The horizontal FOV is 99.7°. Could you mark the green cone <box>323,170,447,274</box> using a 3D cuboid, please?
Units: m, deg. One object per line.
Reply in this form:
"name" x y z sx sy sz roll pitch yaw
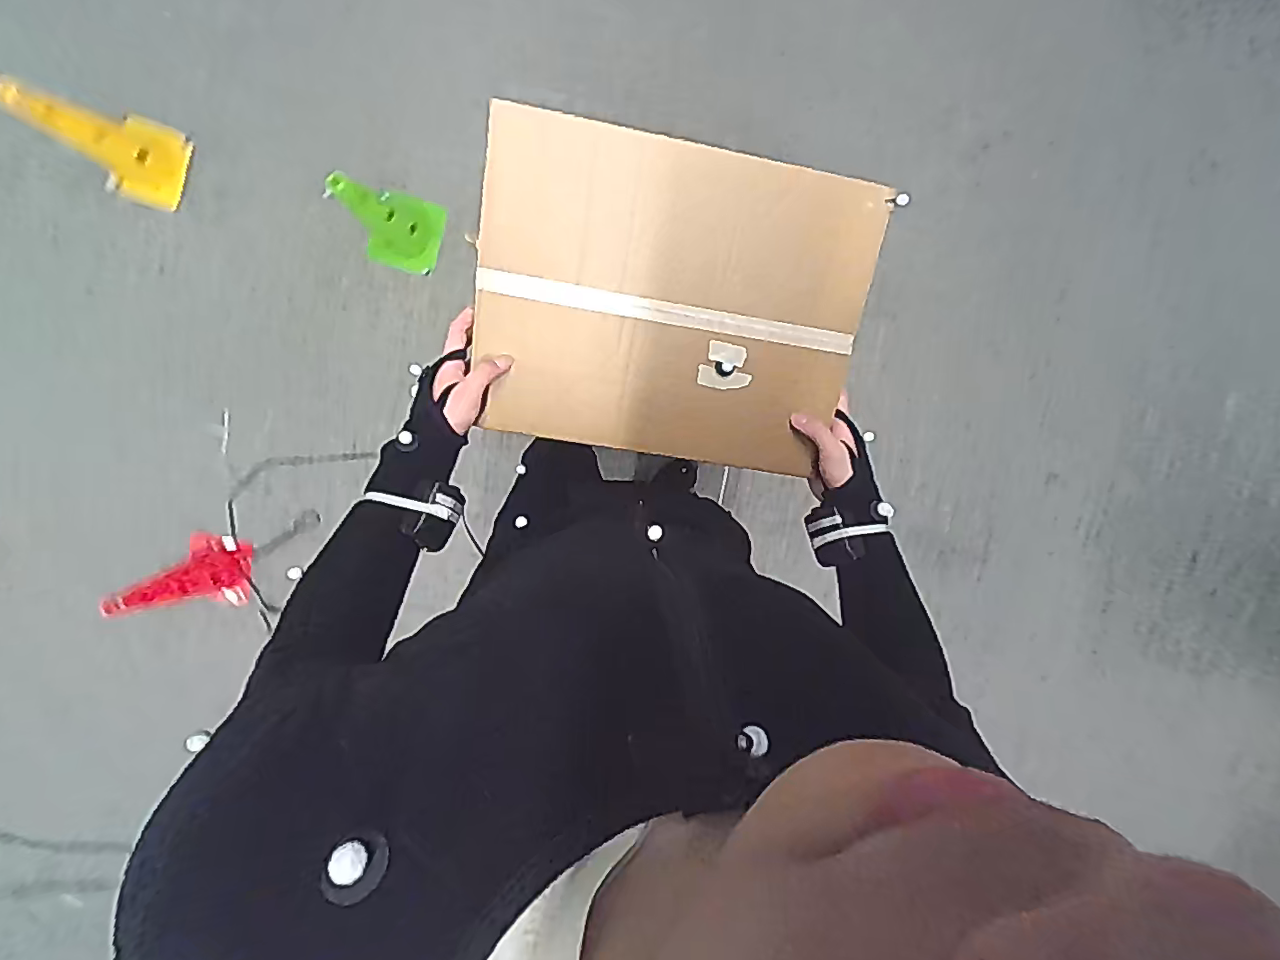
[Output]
"green cone" -0.674 -0.693 1.380 0.202 0.368 0.200 17 97 1
